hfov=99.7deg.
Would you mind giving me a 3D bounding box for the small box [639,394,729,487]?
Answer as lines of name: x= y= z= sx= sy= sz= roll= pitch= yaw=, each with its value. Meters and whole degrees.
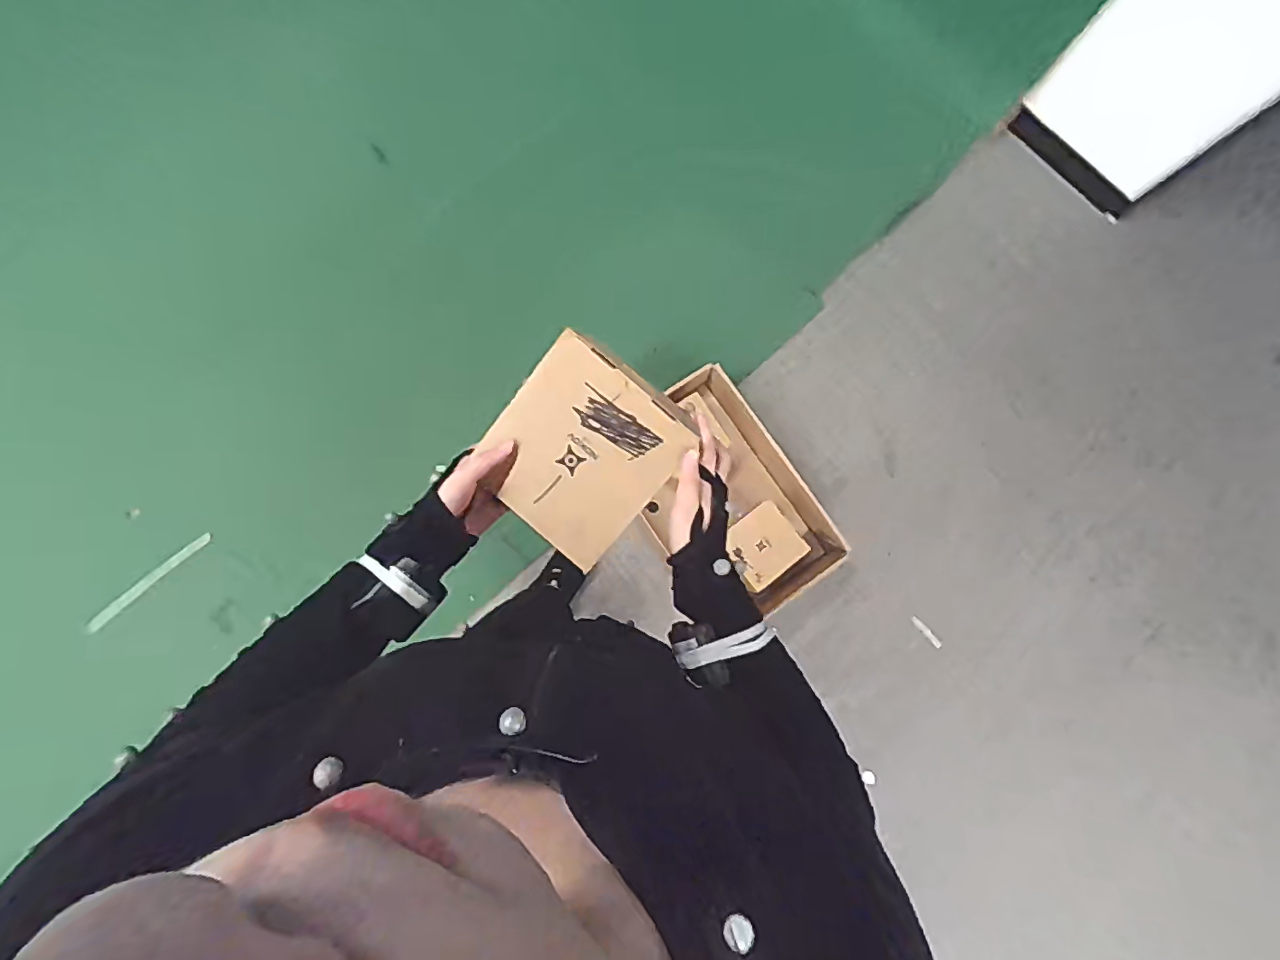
small box: x=0.109 y=-0.097 z=1.441 sx=0.179 sy=0.176 sz=0.168 roll=-31 pitch=85 yaw=-7
